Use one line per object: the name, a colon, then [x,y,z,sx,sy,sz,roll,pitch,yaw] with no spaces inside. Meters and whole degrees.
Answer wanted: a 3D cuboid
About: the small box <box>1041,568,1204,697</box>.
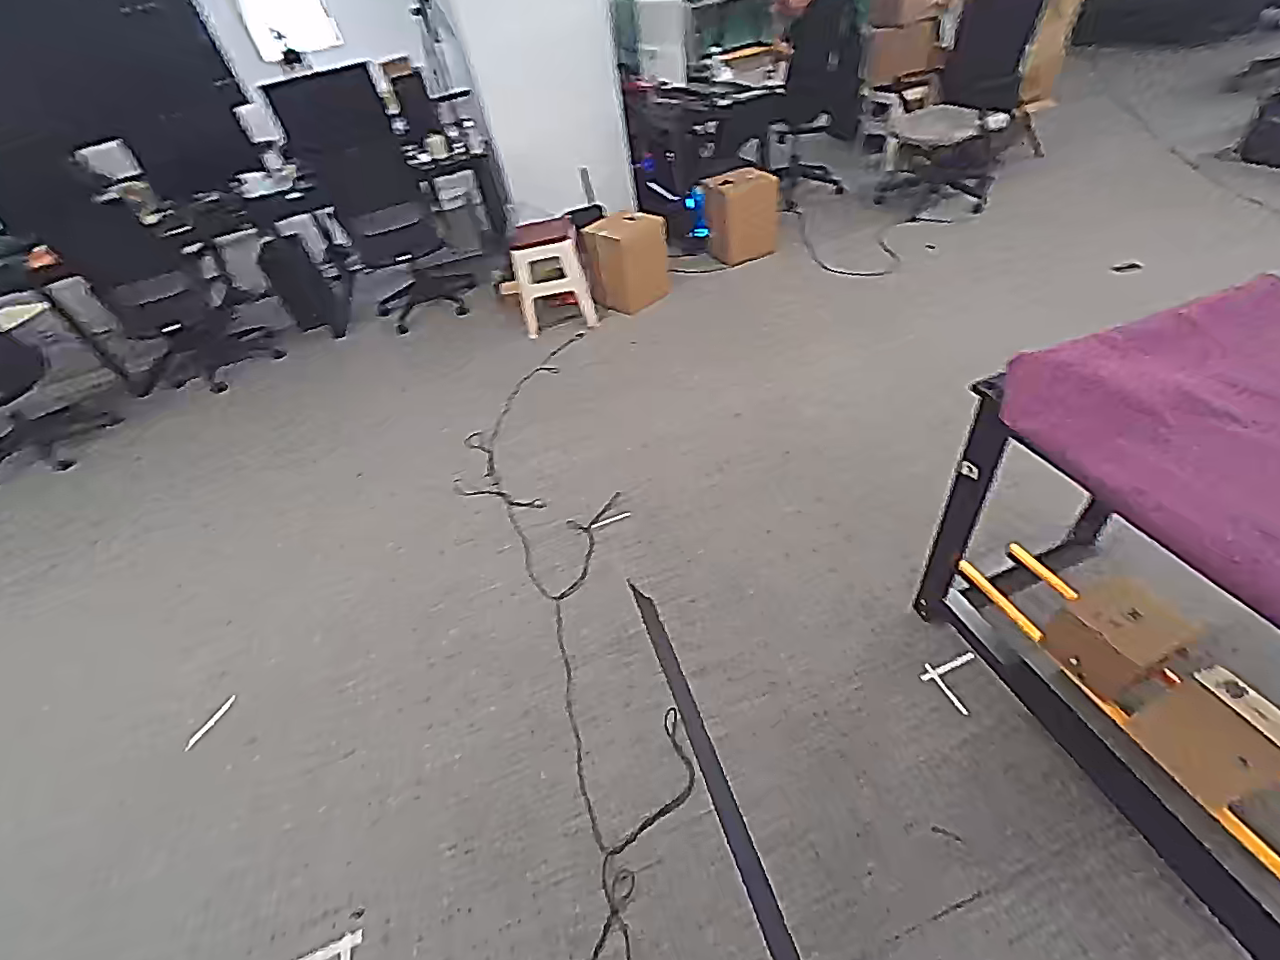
small box: [1.009,0.326,1.152,0.179,0.176,0.168,-23,44,-9]
